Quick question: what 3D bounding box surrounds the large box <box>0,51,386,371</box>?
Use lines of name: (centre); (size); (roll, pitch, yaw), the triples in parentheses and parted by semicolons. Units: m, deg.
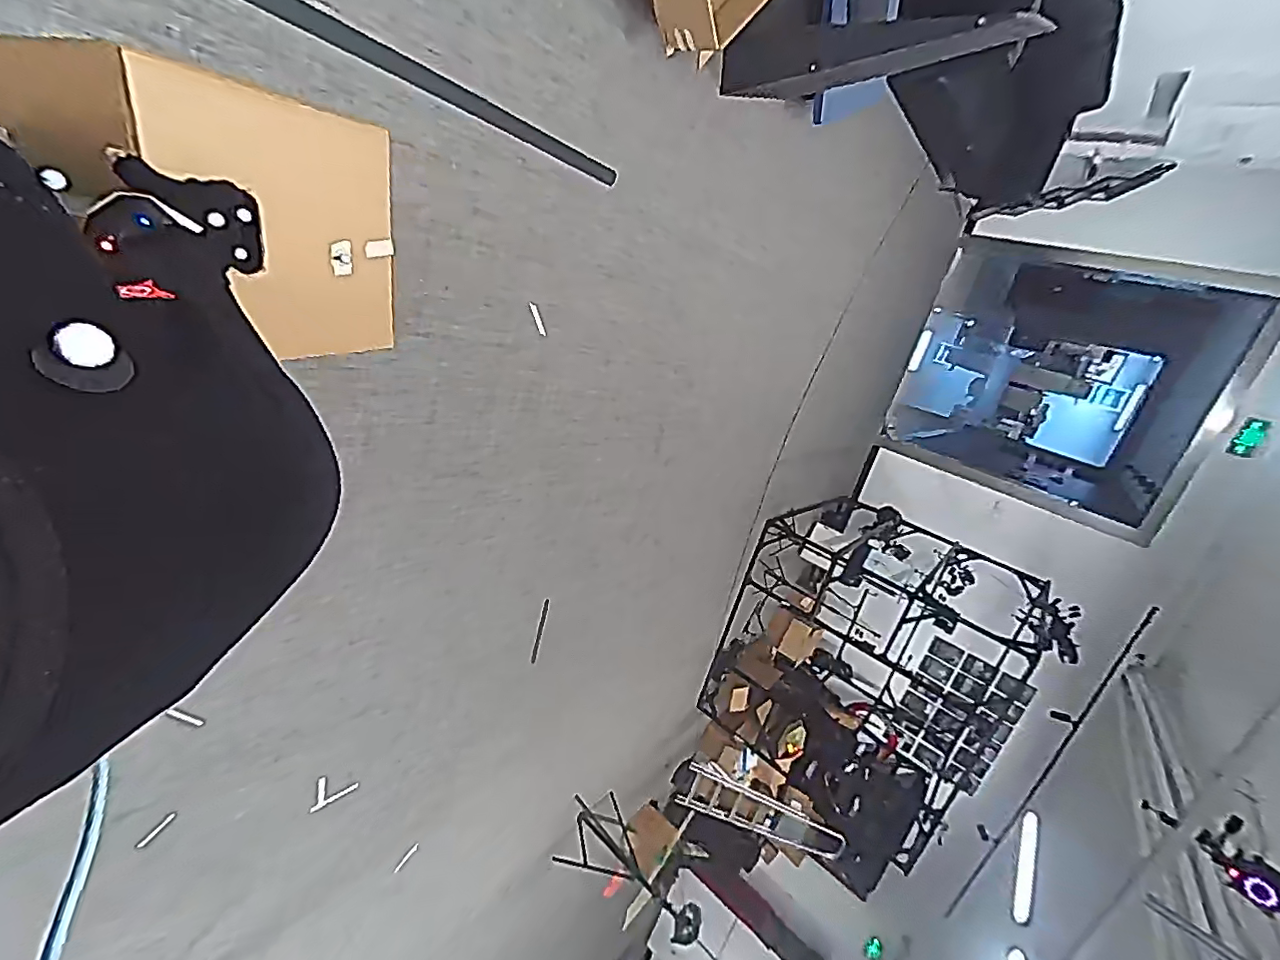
large box: (-0.630, -0.363, 0.763); (0.320, 0.408, 0.320); (-34, 138, -59)
